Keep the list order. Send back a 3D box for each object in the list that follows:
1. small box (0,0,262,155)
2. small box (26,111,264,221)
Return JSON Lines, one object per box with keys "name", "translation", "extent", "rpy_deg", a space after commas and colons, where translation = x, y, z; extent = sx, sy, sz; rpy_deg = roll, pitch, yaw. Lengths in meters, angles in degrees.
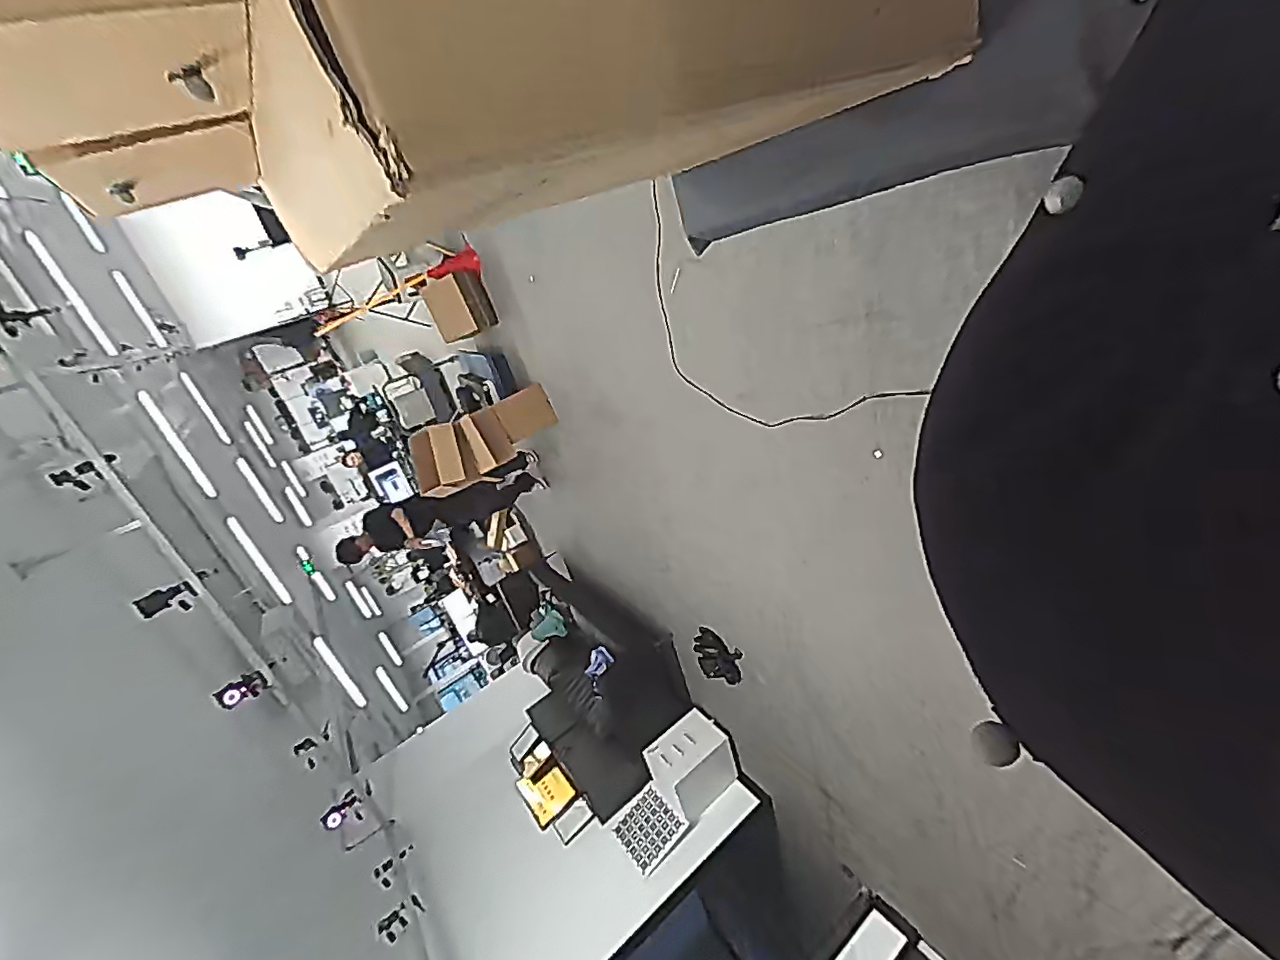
{"name": "small box", "translation": [-0.351, -0.321, 0.312], "extent": [0.179, 0.176, 0.168], "rpy_deg": [16, 132, 54]}
{"name": "small box", "translation": [-0.475, -0.363, 0.492], "extent": [0.179, 0.176, 0.168], "rpy_deg": [15, 133, 56]}
